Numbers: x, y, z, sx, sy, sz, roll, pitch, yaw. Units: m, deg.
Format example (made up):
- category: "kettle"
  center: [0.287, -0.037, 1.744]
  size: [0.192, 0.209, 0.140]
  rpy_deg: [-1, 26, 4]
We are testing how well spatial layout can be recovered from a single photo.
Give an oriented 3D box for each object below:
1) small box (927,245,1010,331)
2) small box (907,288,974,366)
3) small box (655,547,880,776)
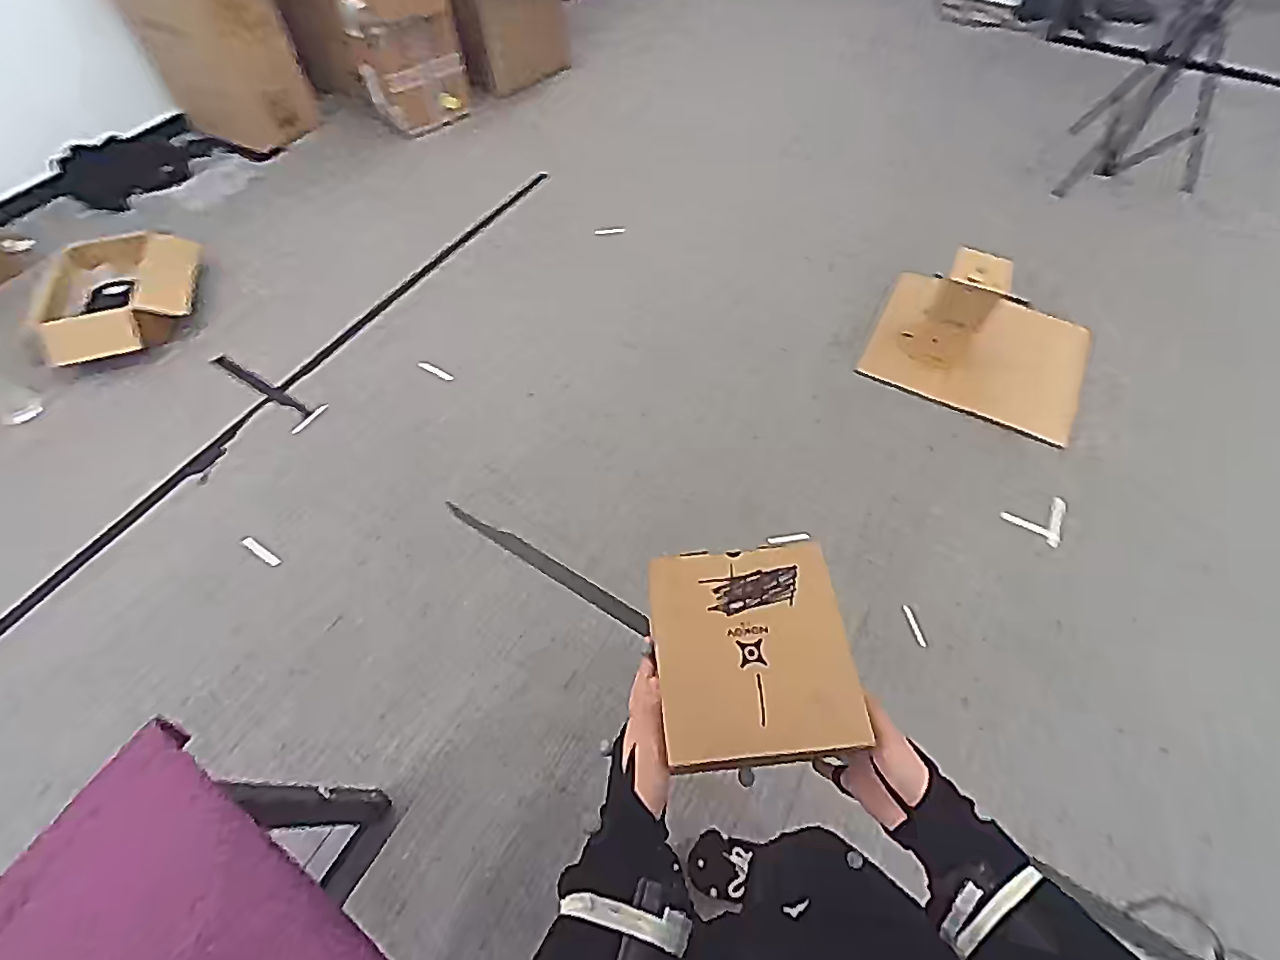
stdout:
- category: "small box"
  center: [1.056, -0.617, 1.746]
  size: [0.168, 0.176, 0.179]
  rpy_deg: [22, 62, 14]
- category: "small box"
  center: [1.058, -0.531, 1.886]
  size: [0.168, 0.176, 0.179]
  rpy_deg: [24, 63, 14]
- category: "small box"
  center: [0.102, 0.182, 0.528]
  size: [0.168, 0.176, 0.179]
  rpy_deg: [-4, 60, 0]
